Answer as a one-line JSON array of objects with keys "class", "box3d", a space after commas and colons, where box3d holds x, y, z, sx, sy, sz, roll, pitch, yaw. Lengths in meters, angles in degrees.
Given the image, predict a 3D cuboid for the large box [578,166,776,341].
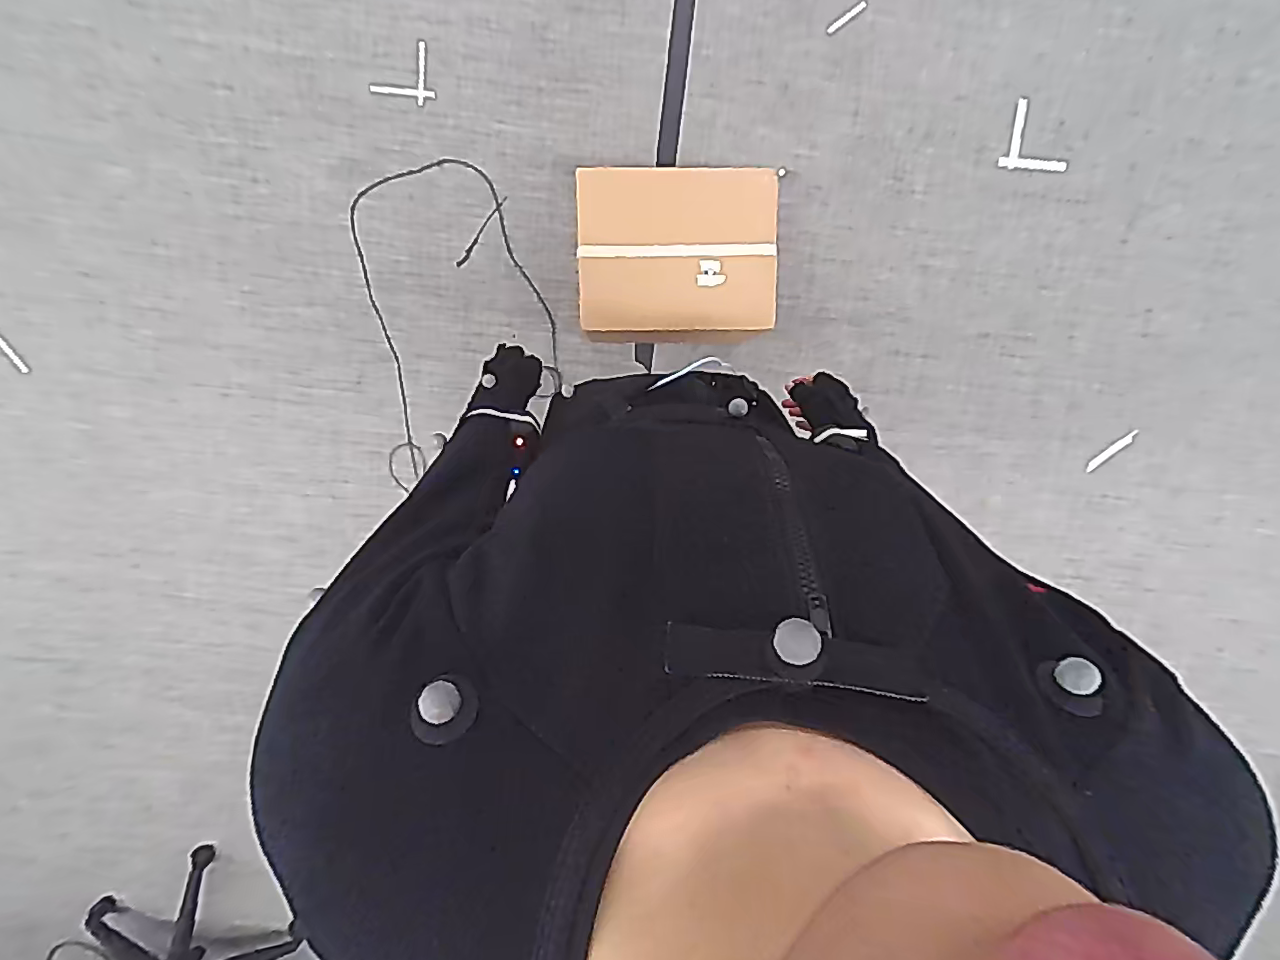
[{"class": "large box", "box3d": [0.071, -0.498, 1.248, 0.408, 0.320, 0.320, -1, 100, -2]}]
